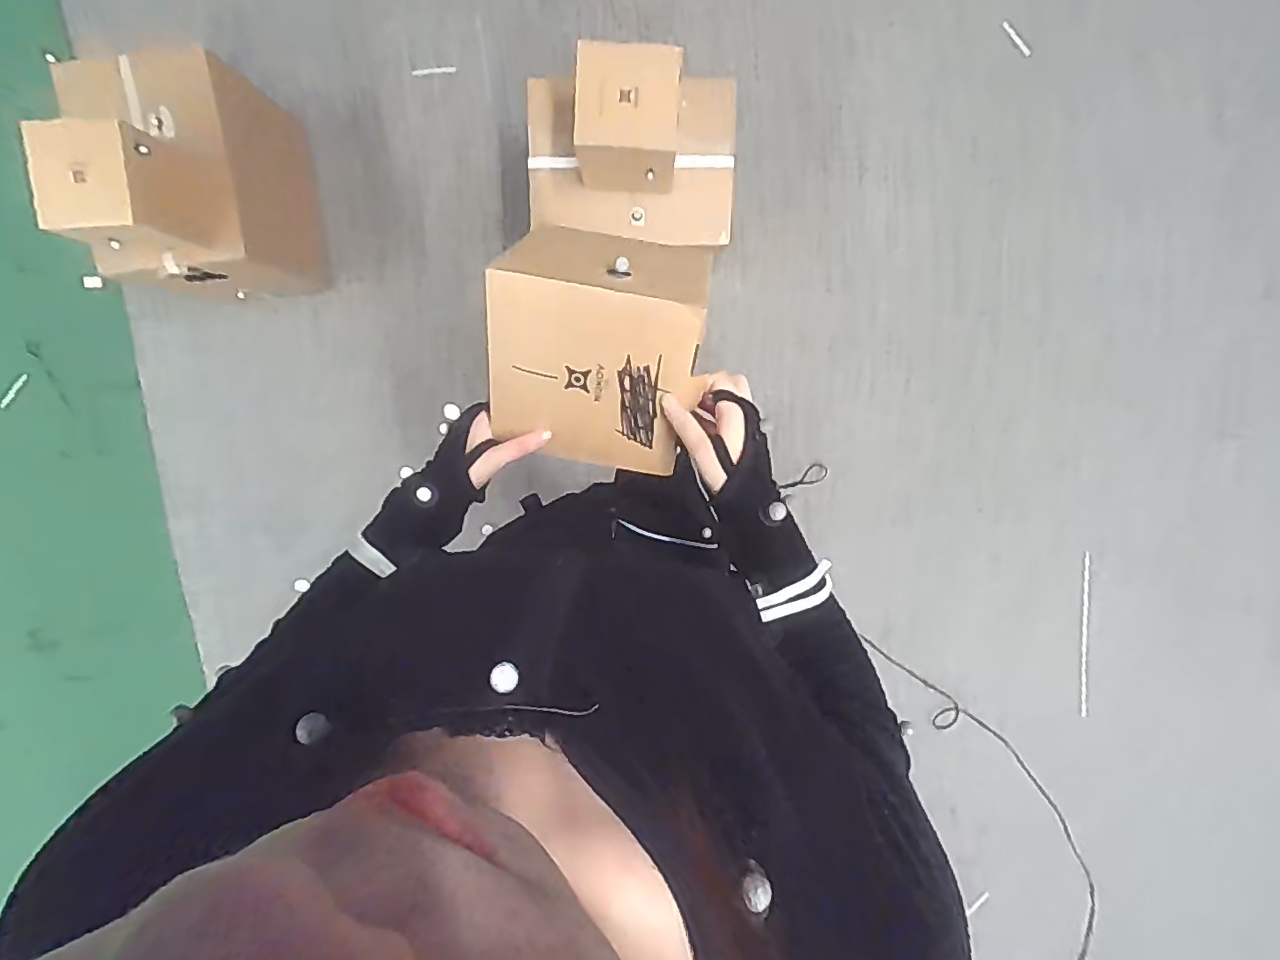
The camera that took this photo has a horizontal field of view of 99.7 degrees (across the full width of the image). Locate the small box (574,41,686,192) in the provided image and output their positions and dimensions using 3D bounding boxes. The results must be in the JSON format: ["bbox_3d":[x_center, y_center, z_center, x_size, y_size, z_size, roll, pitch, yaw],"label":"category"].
[{"bbox_3d":[-0.018,-0.640,0.973,0.179,0.176,0.168,4,96,0],"label":"small box"}]

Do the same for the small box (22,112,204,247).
[{"bbox_3d":[-0.947,-0.537,0.991,0.168,0.176,0.179,-2,97,0],"label":"small box"}]

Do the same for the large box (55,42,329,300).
[{"bbox_3d":[-0.968,-0.656,1.222,0.320,0.320,0.408,-5,97,1],"label":"large box"}]
